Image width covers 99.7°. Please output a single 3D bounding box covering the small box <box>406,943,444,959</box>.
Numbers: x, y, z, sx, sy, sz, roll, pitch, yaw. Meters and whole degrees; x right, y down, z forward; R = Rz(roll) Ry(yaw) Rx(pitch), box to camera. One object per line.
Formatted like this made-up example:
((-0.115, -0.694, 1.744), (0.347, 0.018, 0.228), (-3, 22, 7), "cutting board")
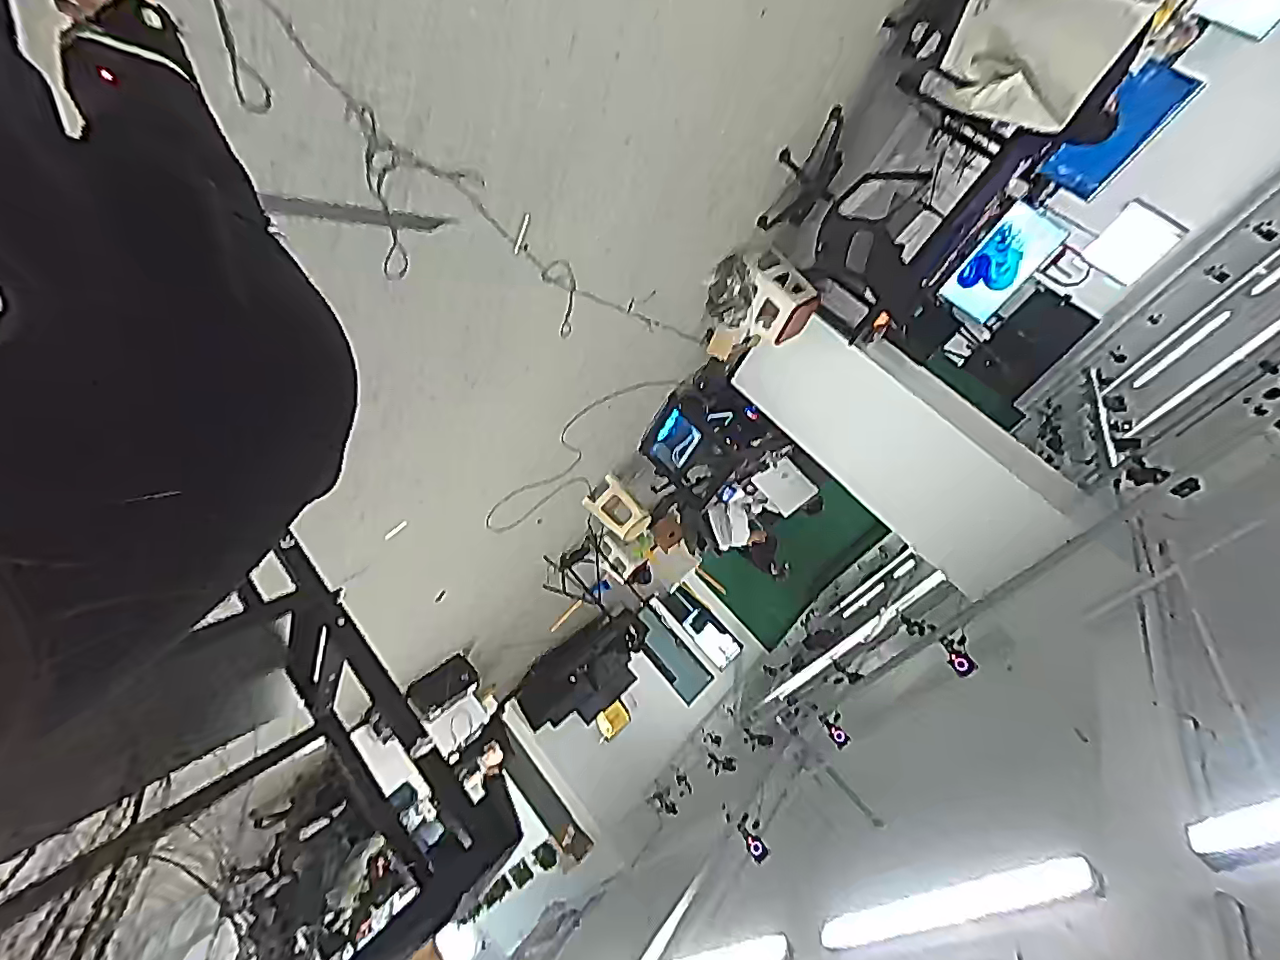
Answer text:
((-0.433, 1.020, 1.012), (0.168, 0.176, 0.179), (-23, 155, -48), "small box")
